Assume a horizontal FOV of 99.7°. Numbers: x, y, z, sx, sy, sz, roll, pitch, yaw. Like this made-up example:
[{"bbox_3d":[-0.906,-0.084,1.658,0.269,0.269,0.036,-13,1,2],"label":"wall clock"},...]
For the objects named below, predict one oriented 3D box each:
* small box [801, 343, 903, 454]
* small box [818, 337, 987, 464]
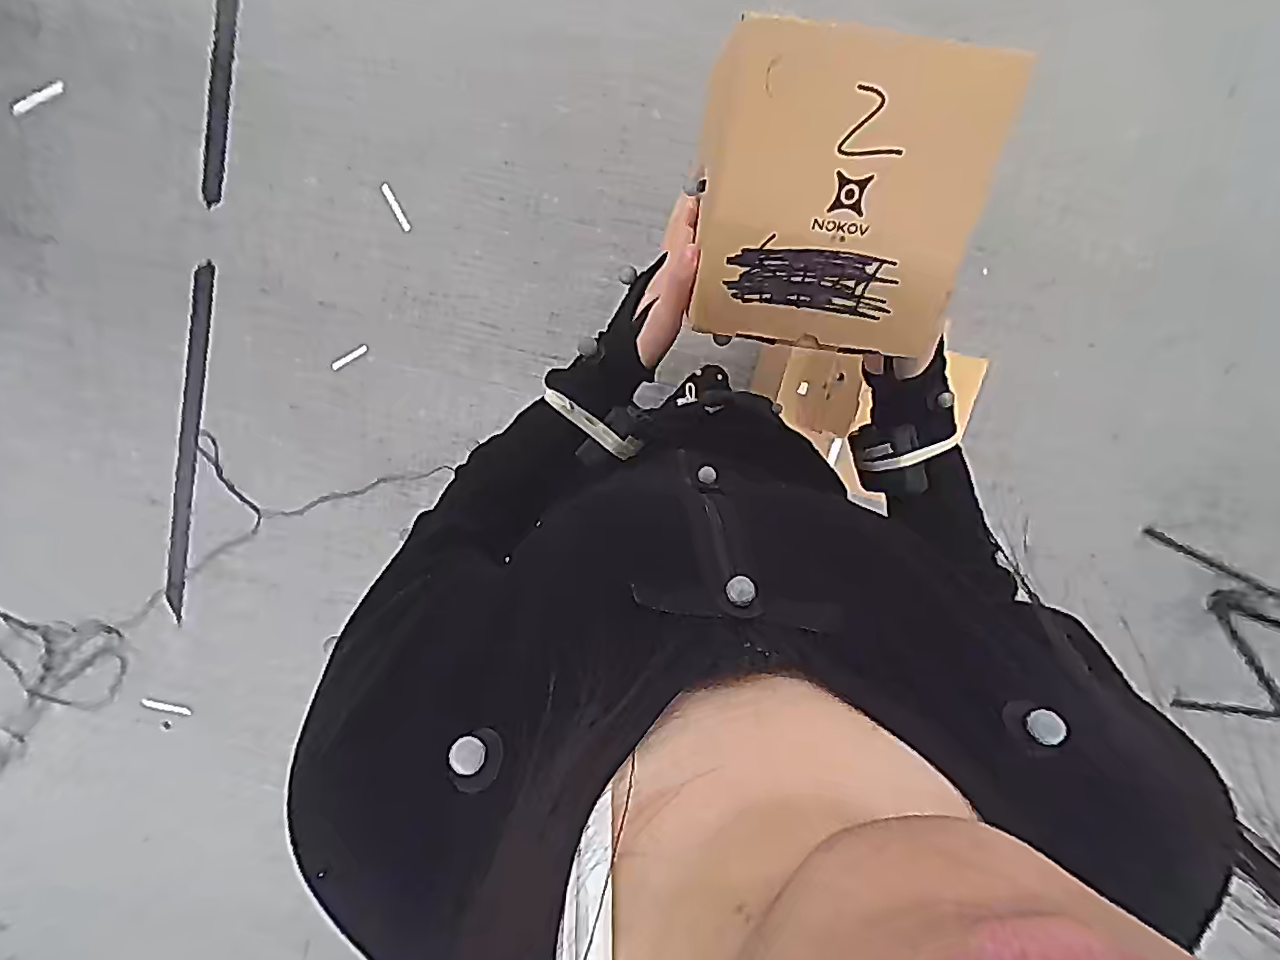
[{"bbox_3d":[0.437,-0.164,1.076,0.168,0.176,0.179,13,102,-1],"label":"small box"},{"bbox_3d":[0.430,-0.138,0.916,0.179,0.176,0.168,14,101,-1],"label":"small box"}]
